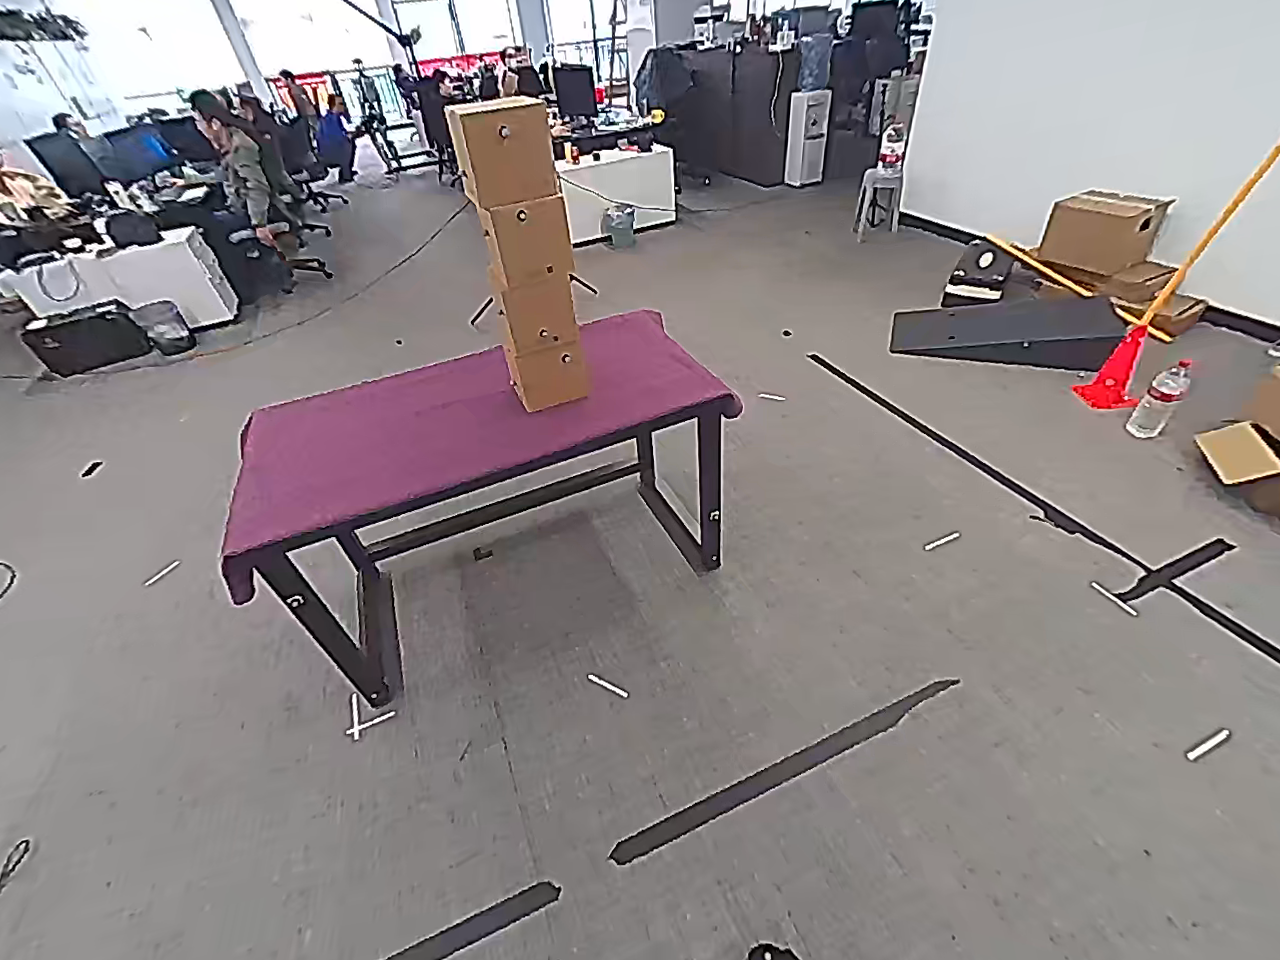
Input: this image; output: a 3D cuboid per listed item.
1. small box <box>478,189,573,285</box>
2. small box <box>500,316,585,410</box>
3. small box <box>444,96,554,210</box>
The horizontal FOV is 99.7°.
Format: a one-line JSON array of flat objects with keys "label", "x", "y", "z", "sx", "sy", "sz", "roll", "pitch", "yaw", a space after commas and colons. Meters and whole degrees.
[{"label": "small box", "x": -0.266, "y": -0.566, "z": 1.245, "sx": 0.168, "sy": 0.176, "sz": 0.179, "roll": -21, "pitch": 42, "yaw": -15}, {"label": "small box", "x": -0.255, "y": -0.313, "z": 1.453, "sx": 0.179, "sy": 0.176, "sz": 0.168, "roll": -21, "pitch": 42, "yaw": -15}, {"label": "small box", "x": -0.291, "y": -0.694, "z": 1.145, "sx": 0.179, "sy": 0.176, "sz": 0.168, "roll": -21, "pitch": 43, "yaw": -16}]
